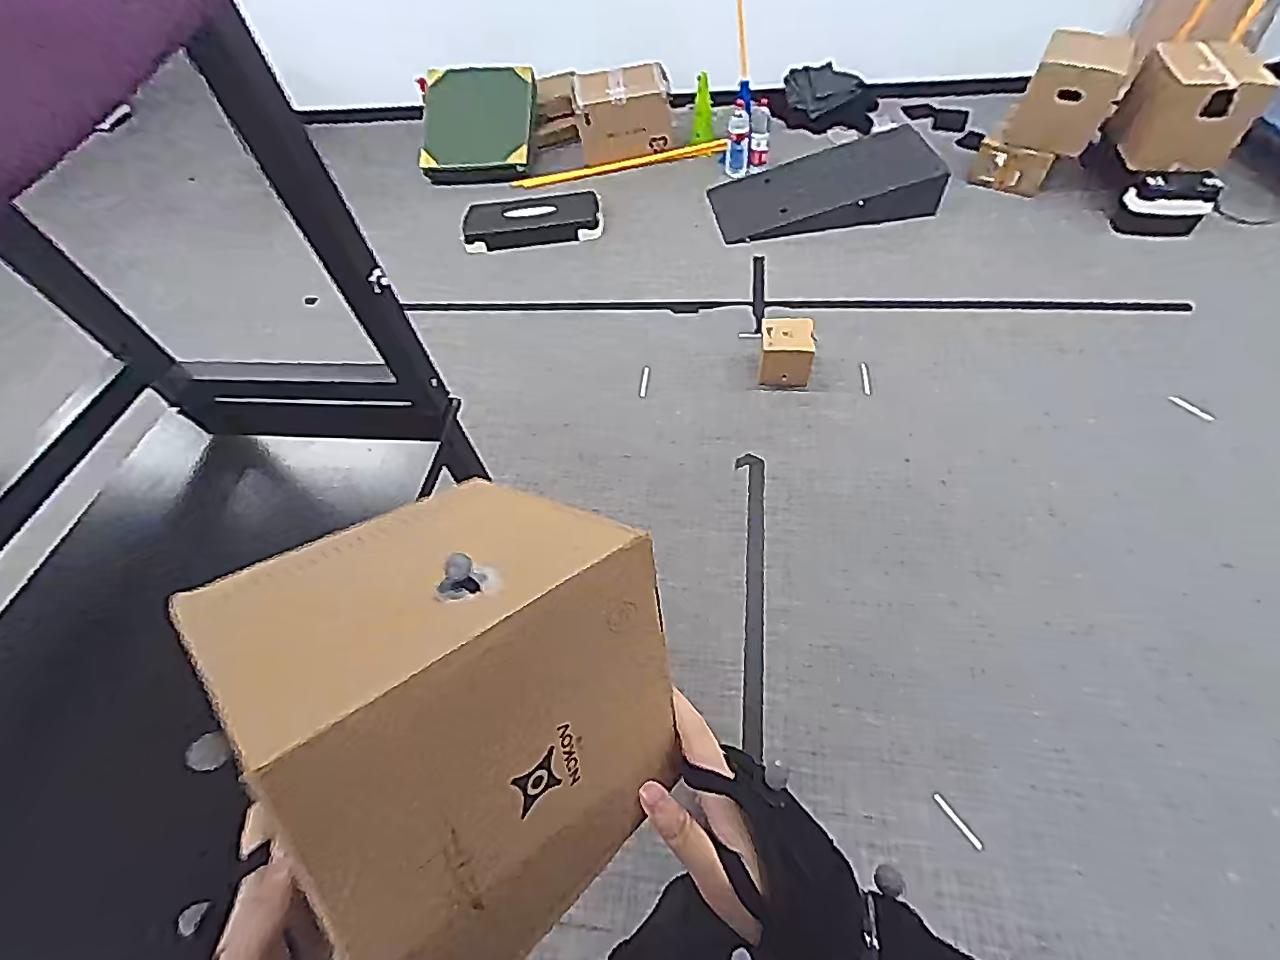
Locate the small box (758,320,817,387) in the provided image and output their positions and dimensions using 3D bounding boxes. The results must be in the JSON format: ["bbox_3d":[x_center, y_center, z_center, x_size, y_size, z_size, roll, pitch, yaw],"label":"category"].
[{"bbox_3d":[0.521,-0.448,1.927,0.179,0.176,0.168,4,56,7],"label":"small box"}]
